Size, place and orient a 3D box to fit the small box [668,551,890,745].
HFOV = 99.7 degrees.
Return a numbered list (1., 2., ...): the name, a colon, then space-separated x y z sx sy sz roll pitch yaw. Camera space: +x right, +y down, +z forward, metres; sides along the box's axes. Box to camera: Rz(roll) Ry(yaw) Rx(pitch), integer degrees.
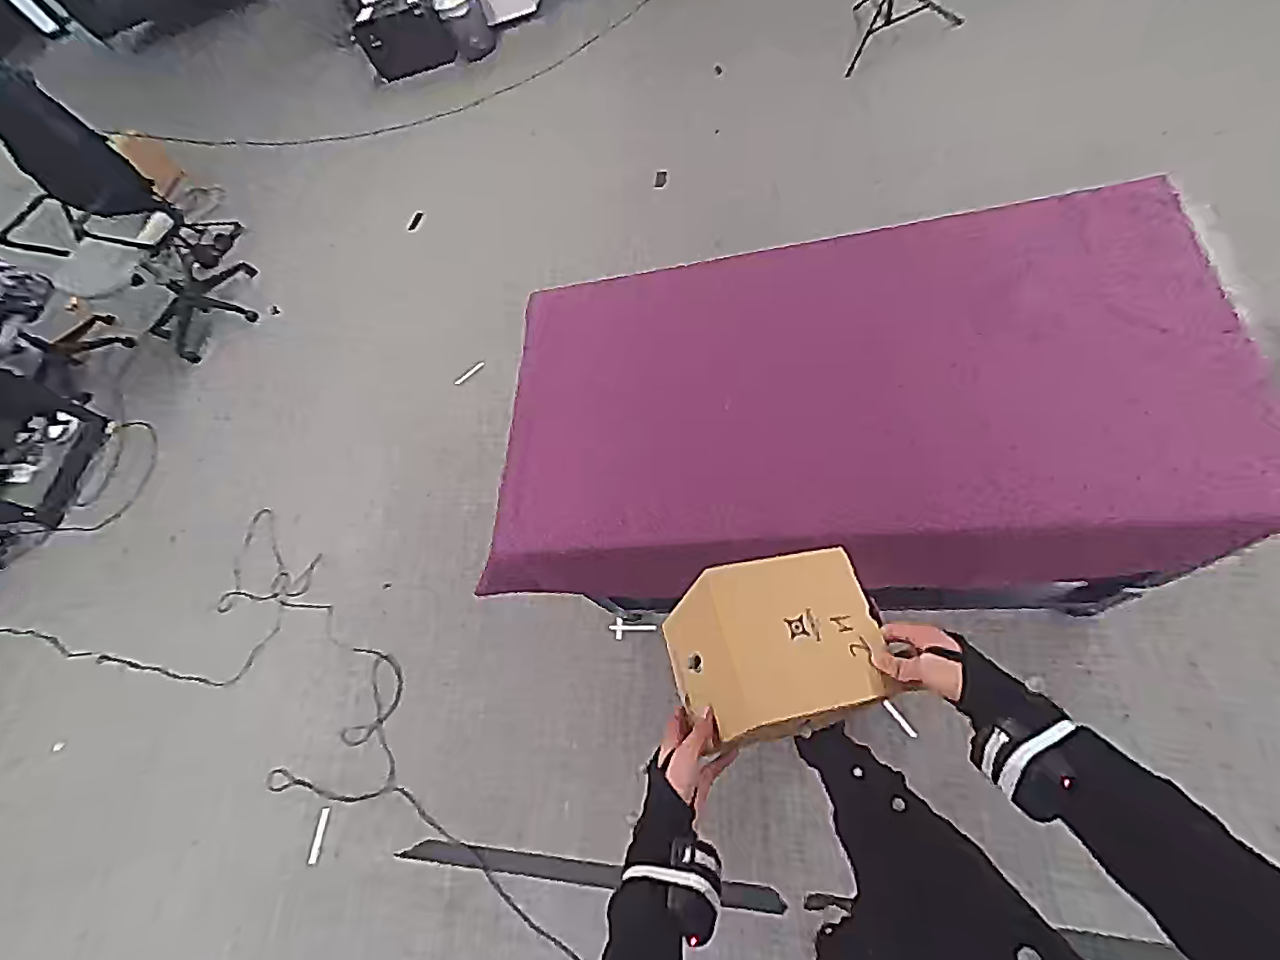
1. small box: 0.144 0.200 0.640 0.179 0.176 0.168 -1 56 -20
